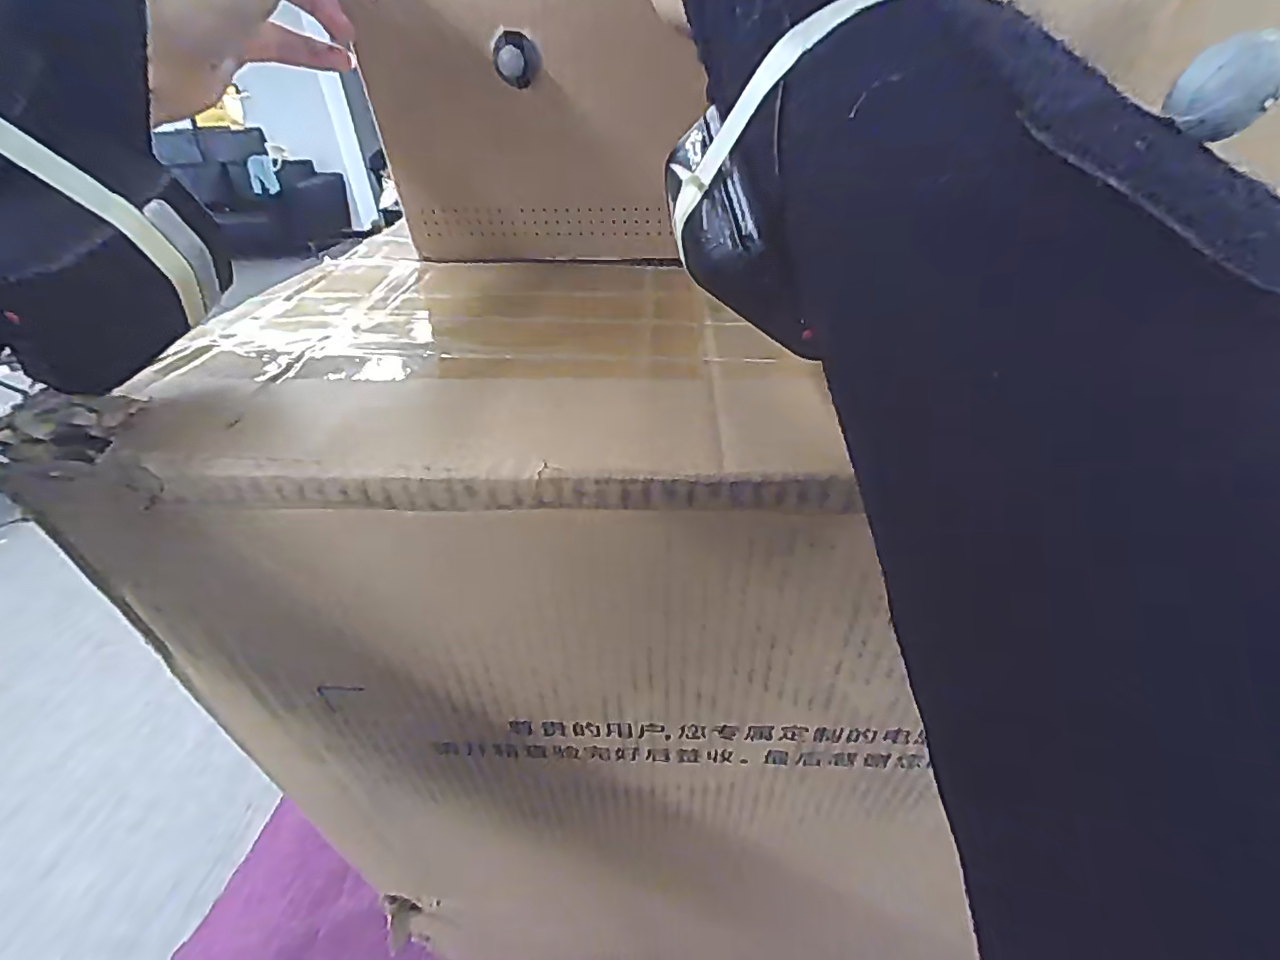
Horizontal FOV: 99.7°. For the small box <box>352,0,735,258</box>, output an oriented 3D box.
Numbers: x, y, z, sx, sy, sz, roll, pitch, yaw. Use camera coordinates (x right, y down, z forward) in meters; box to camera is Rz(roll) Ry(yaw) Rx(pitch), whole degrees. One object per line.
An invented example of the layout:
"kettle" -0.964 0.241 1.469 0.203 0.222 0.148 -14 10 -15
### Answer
"small box" -0.037 -0.242 0.319 0.179 0.176 0.168 1 42 4
